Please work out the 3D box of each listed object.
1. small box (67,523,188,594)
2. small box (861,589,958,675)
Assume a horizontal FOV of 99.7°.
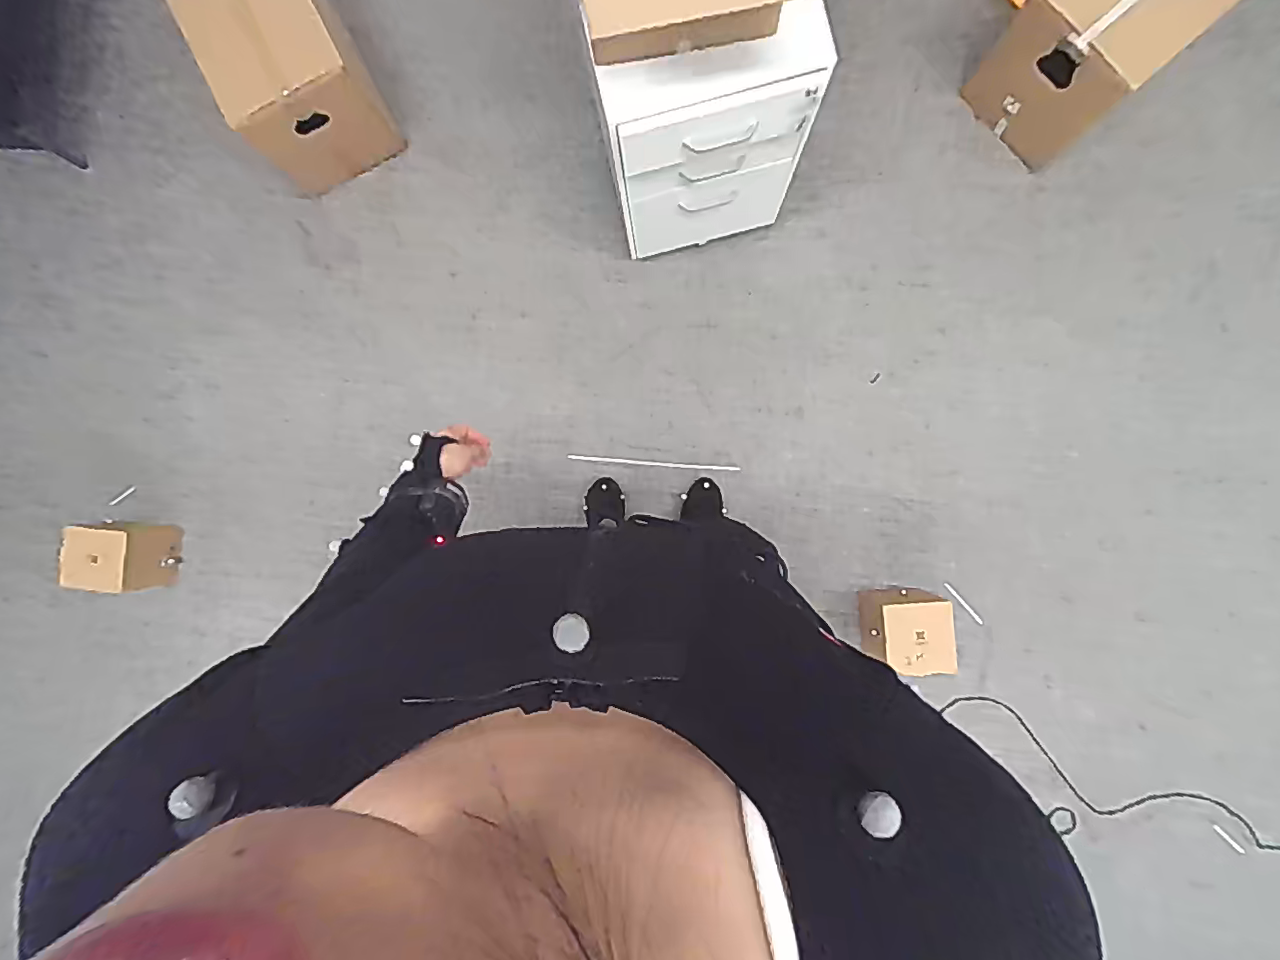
[{"bbox_3d":[-1.425,0.214,1.509,0.179,0.176,0.168,5,91,2],"label":"small box"},{"bbox_3d":[0.674,0.377,1.370,0.168,0.176,0.179,-4,90,3],"label":"small box"}]
